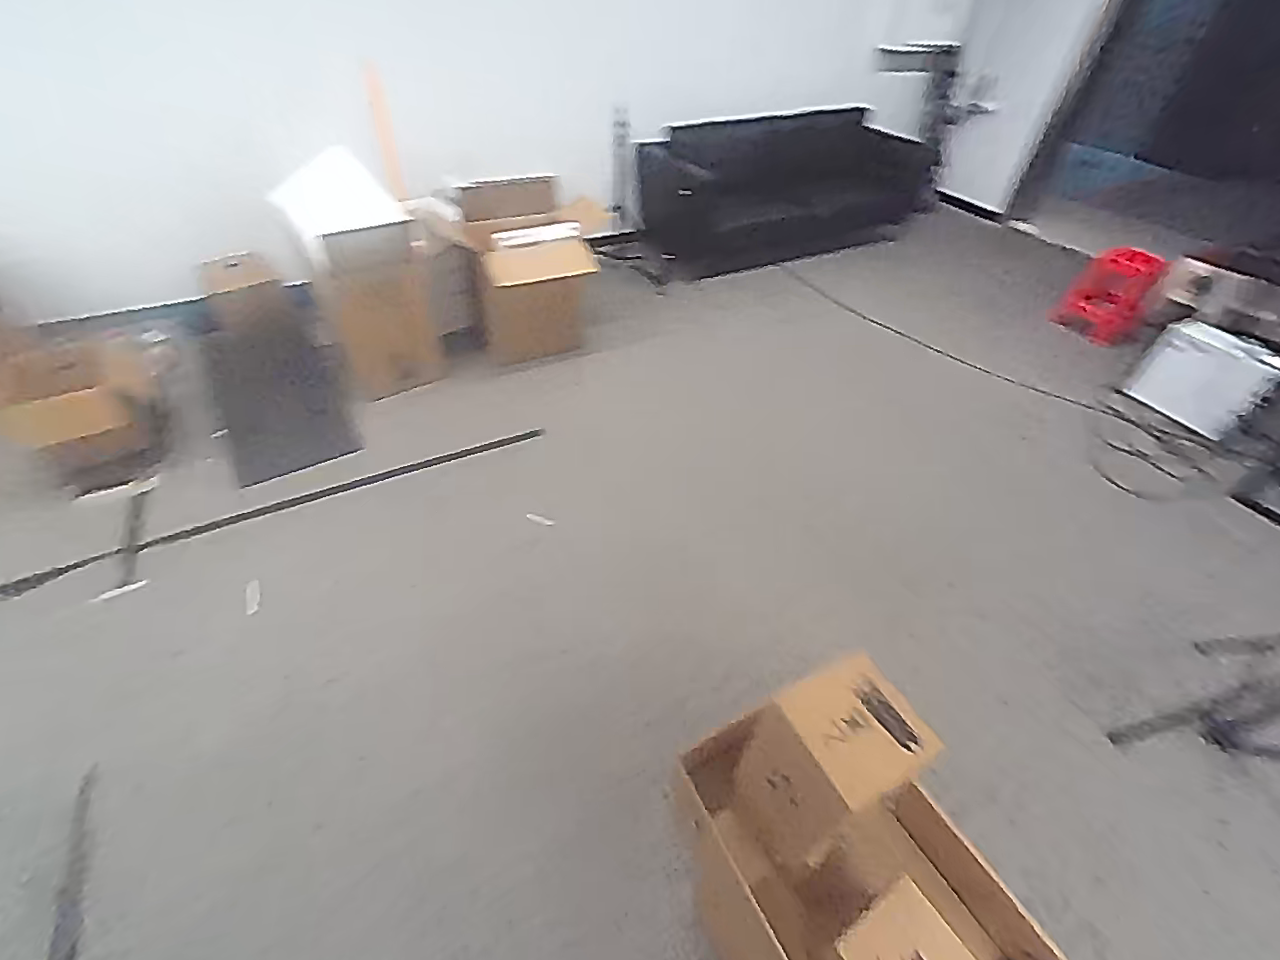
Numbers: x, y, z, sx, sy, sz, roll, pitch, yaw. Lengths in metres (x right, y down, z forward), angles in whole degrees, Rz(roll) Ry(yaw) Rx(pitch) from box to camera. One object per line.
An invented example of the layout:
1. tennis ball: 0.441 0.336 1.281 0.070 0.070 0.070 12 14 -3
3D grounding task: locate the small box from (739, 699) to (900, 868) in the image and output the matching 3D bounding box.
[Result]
1. small box: 0.292 0.514 0.919 0.179 0.176 0.168 -17 47 -22
